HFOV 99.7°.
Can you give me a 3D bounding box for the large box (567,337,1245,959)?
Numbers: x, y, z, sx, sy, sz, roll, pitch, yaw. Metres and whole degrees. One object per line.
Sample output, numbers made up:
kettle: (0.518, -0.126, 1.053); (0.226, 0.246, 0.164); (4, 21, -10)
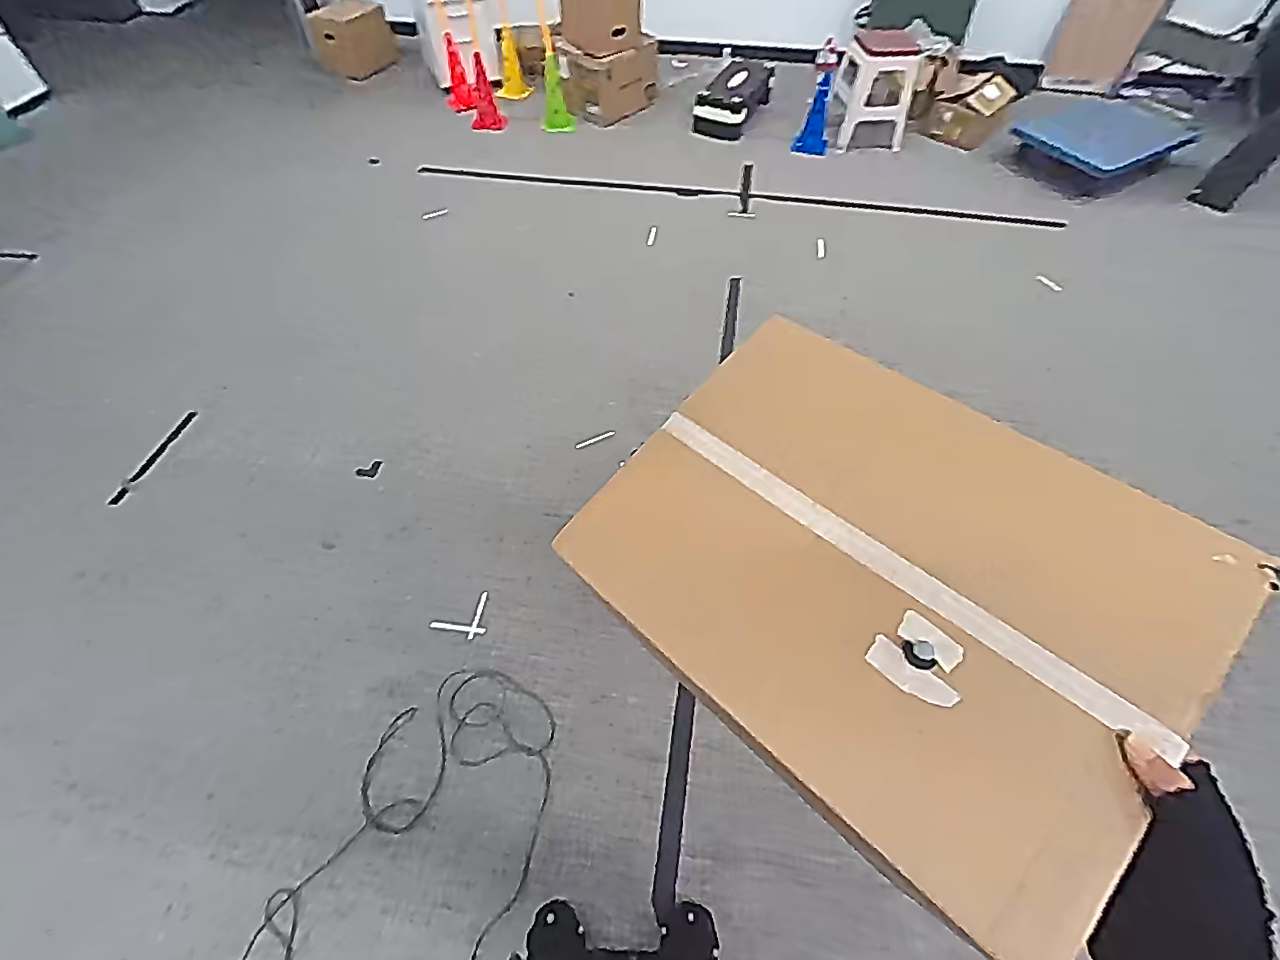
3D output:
large box: (0.202, 0.131, 0.551); (0.408, 0.320, 0.320); (37, 76, 27)
